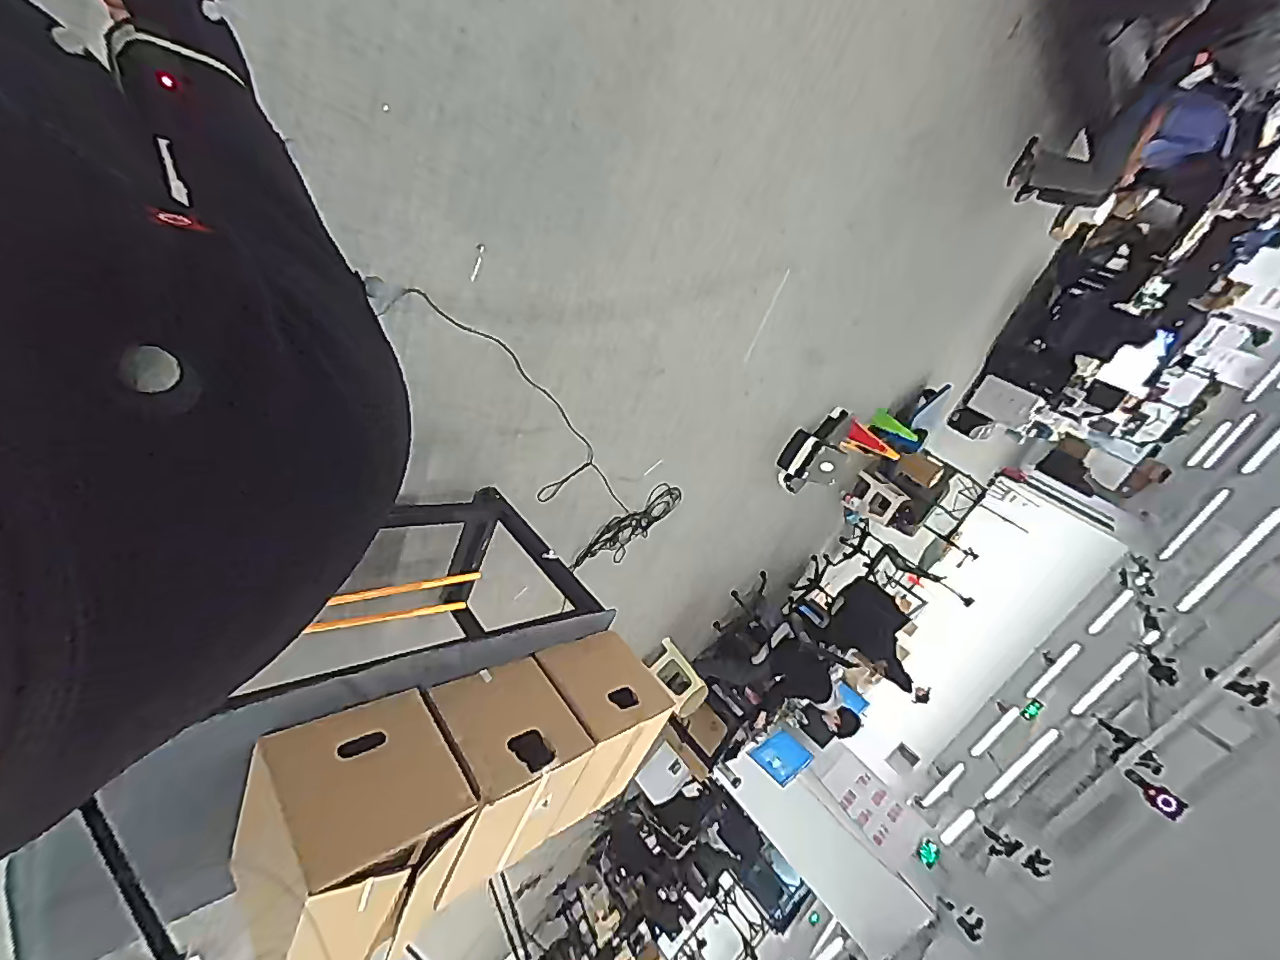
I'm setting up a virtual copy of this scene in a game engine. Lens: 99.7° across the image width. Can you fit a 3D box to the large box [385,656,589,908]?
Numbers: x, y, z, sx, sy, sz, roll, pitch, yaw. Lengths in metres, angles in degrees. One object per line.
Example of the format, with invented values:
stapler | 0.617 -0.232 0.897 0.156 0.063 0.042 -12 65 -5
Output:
large box | -0.392 0.720 1.341 0.320 0.320 0.408 -3 124 -49
